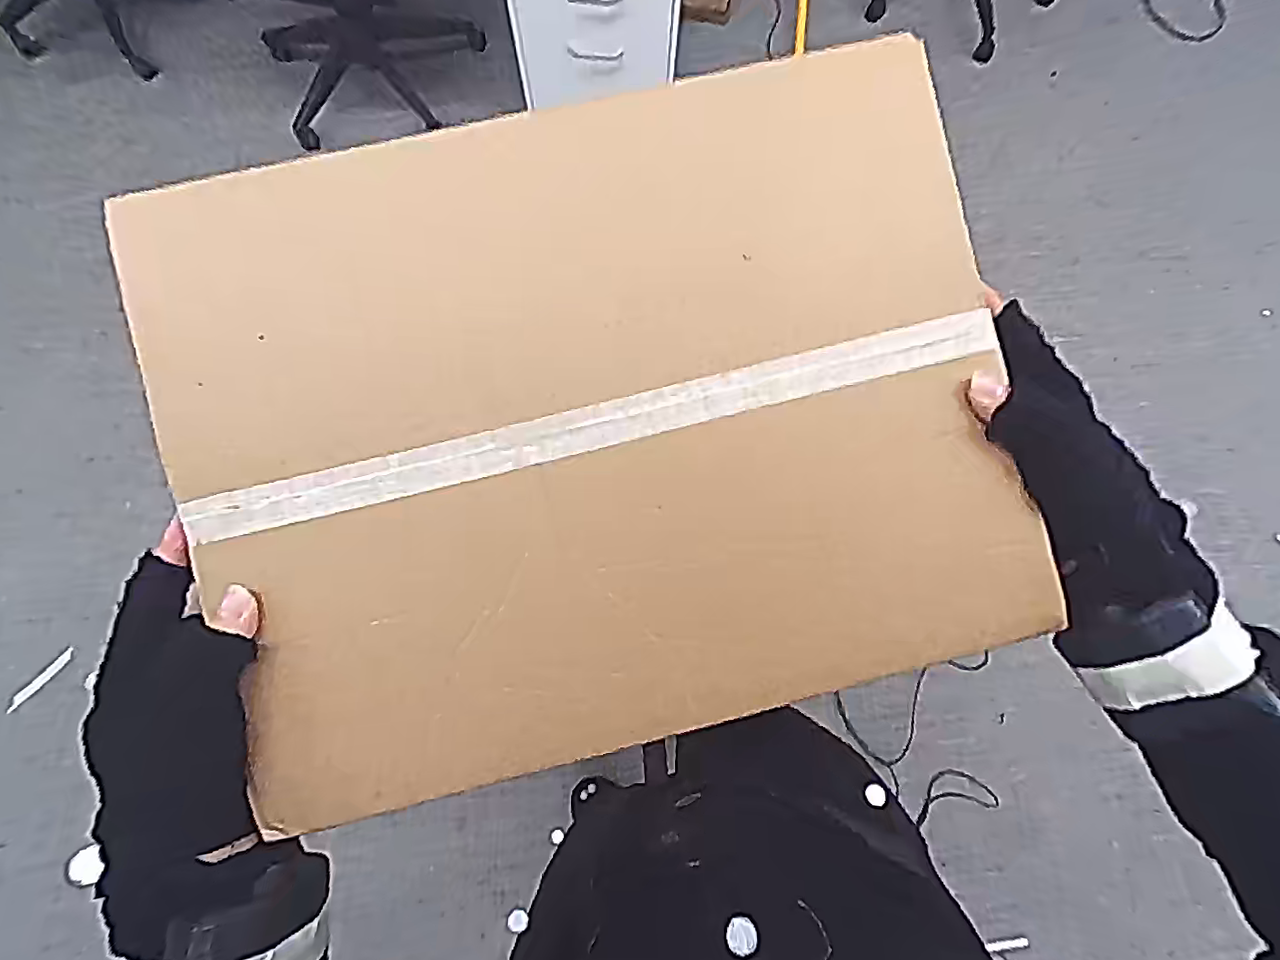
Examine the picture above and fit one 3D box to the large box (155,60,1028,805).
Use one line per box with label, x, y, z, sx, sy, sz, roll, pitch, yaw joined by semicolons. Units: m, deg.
large box;-0.022;-0.030;0.428;0.408;0.320;0.320;-13;89;-3
